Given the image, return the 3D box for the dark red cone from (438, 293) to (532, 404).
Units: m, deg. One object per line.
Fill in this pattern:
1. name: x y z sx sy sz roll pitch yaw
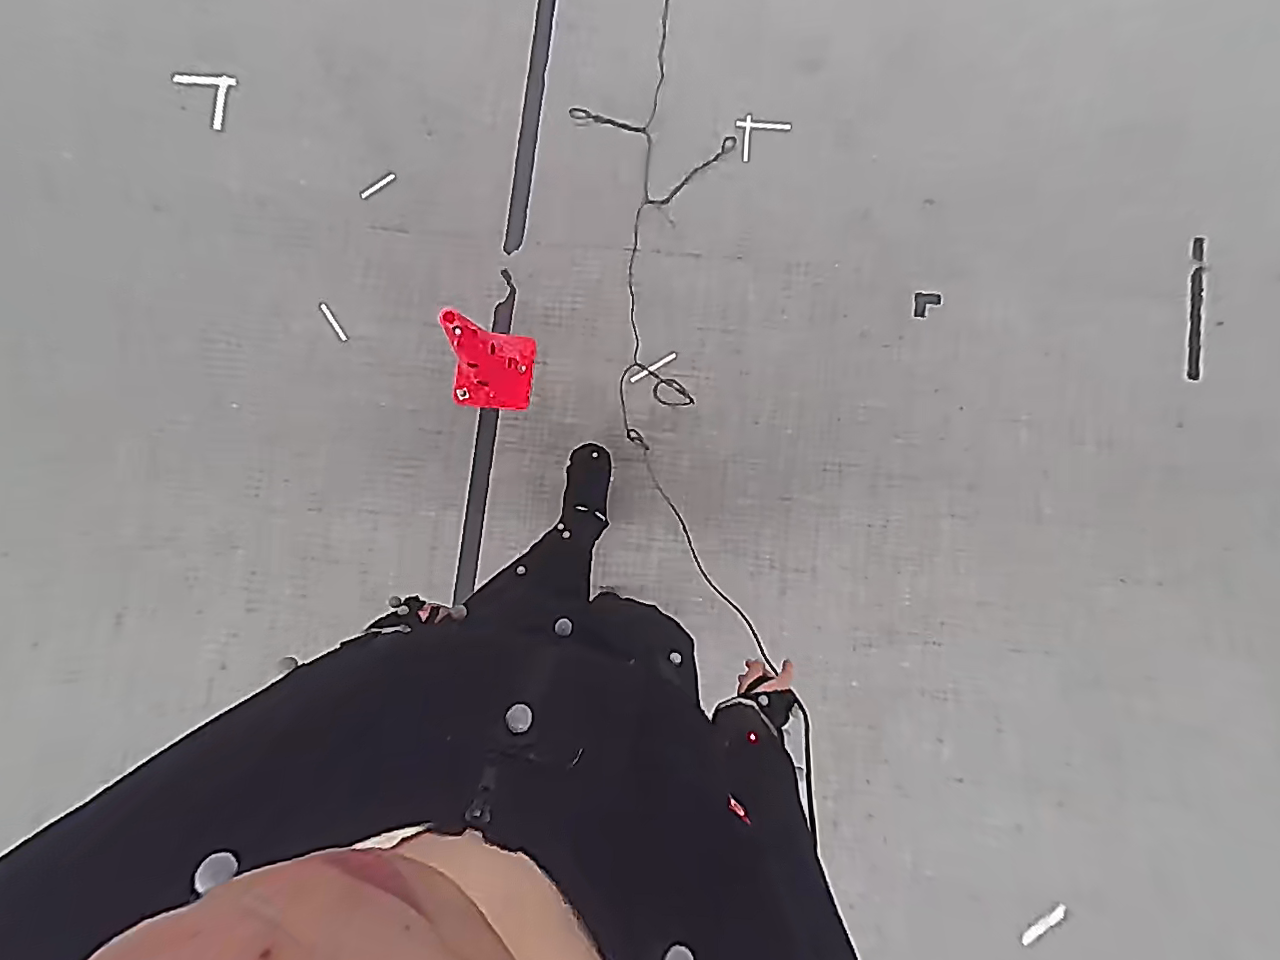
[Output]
1. dark red cone: -0.376 -0.316 1.223 0.201 0.394 0.202 5 84 -1
